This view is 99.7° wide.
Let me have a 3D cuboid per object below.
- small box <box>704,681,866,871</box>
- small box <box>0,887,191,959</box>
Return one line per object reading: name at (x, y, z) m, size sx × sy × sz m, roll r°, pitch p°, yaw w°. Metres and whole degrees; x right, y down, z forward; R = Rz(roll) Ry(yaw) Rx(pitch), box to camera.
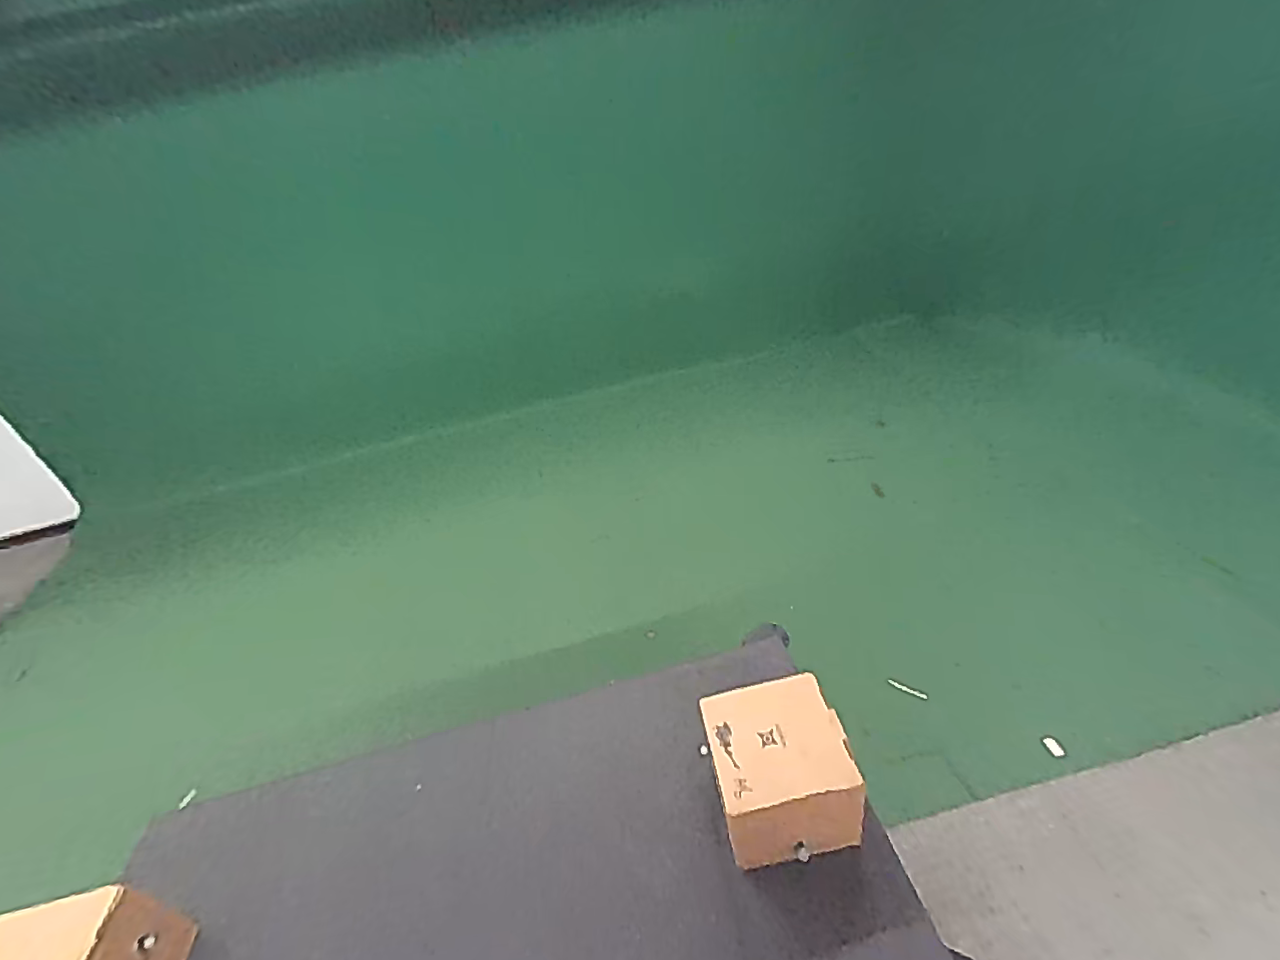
small box at (0.199, 0.423, 0.776) m, size 0.179 × 0.176 × 0.168 m, roll -13°, pitch 34°, yaw 0°
small box at (-0.746, 0.669, 0.695) m, size 0.179 × 0.176 × 0.168 m, roll -13°, pitch 31°, yaw -1°
